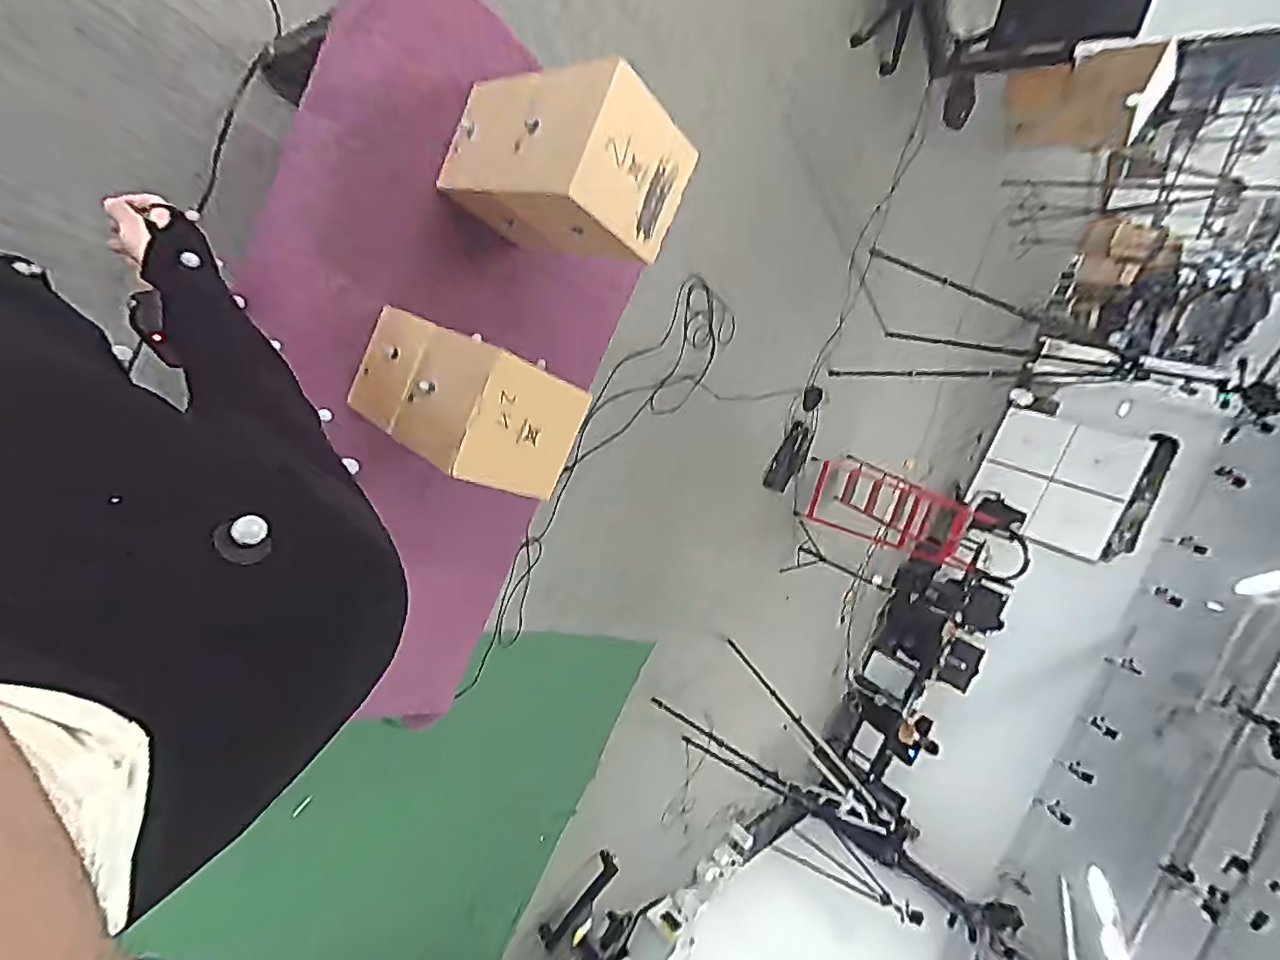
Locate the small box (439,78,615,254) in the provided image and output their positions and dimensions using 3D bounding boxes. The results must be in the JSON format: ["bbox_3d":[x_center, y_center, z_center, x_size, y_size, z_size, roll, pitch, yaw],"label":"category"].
[{"bbox_3d":[-0.177,-0.482,0.846,0.179,0.176,0.168,18,96,-51],"label":"small box"}]

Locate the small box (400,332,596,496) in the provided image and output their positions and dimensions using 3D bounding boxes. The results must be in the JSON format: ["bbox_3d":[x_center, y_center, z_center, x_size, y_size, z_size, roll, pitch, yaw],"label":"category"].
[{"bbox_3d":[-0.201,-0.094,0.768,0.179,0.176,0.168,20,93,-52],"label":"small box"}]

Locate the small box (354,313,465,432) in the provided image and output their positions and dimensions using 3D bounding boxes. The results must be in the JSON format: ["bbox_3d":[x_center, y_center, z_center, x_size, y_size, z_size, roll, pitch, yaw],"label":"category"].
[{"bbox_3d":[-0.321,-0.152,0.864,0.179,0.176,0.168,19,95,-53],"label":"small box"}]
